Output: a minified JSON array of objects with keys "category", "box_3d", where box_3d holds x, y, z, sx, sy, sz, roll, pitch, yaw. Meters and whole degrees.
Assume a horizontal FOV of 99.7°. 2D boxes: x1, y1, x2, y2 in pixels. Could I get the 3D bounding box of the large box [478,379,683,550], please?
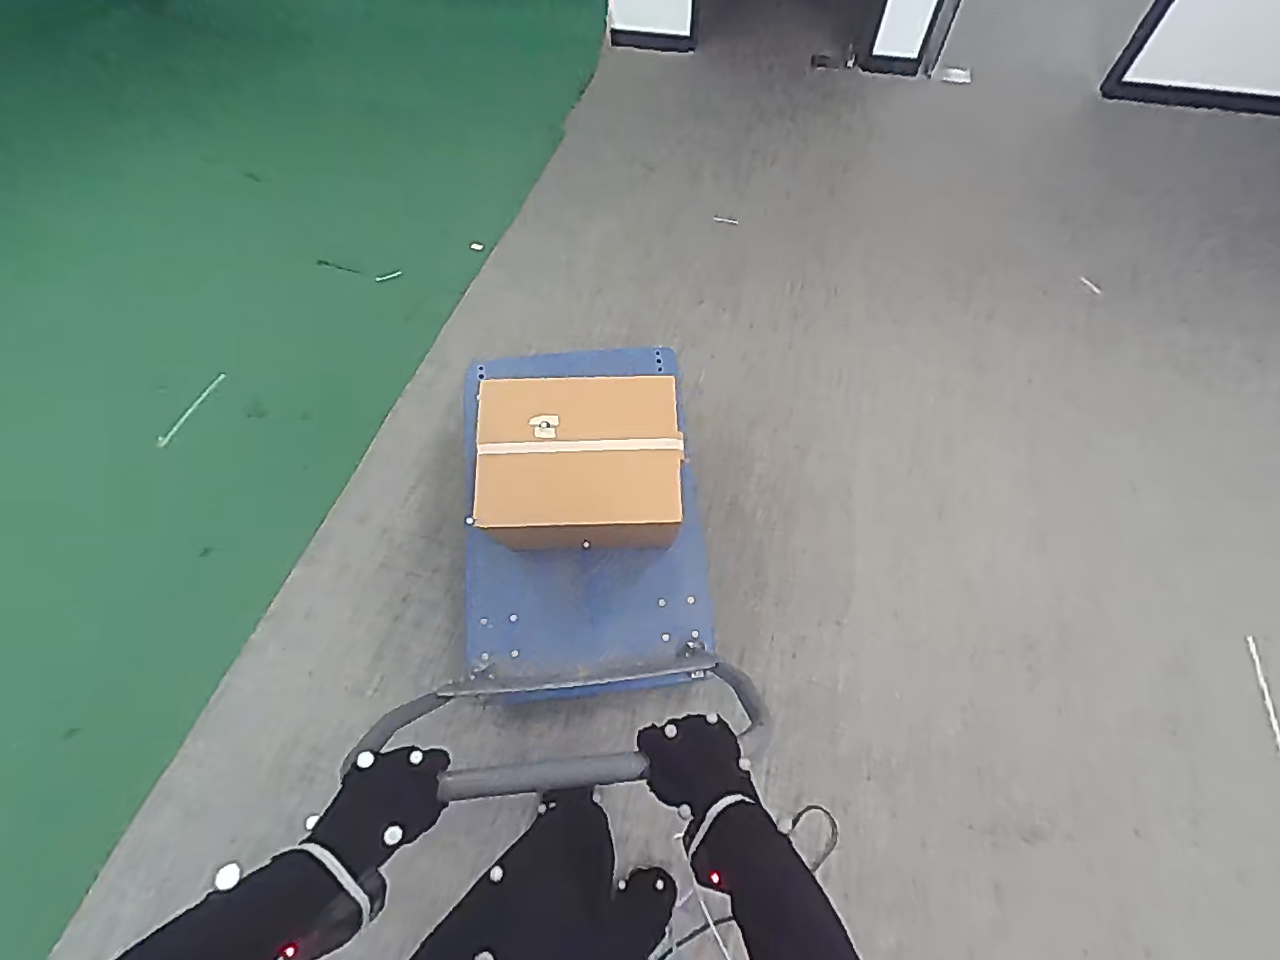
[{"category":"large box","box_3d":[-0.117,-0.017,1.222,0.408,0.320,0.320,-1,74,0]}]
